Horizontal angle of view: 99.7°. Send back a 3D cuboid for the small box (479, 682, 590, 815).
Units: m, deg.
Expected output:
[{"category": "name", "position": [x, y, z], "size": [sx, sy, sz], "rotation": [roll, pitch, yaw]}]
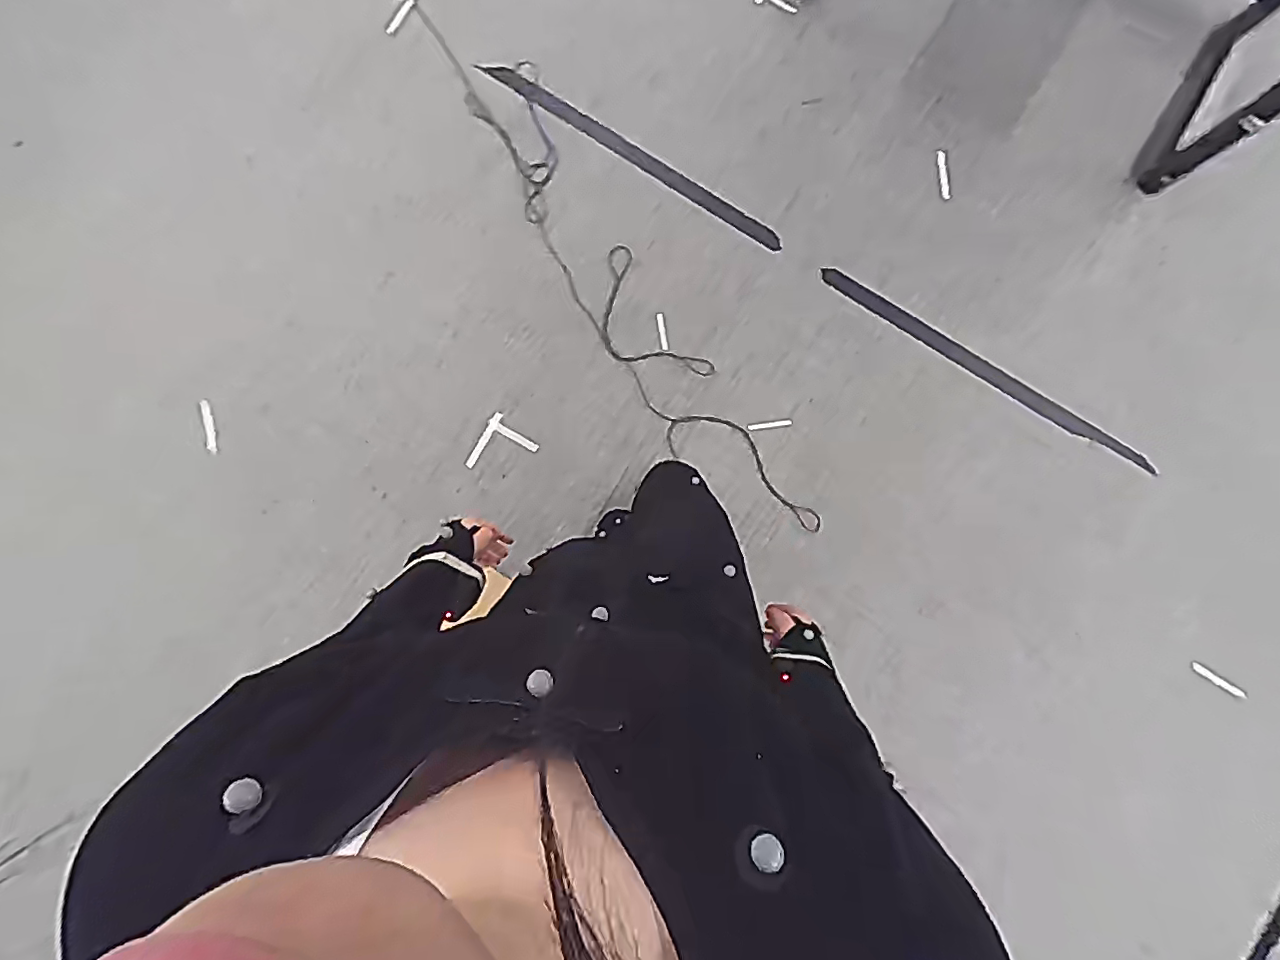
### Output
[{"category": "small box", "position": [-0.225, 0.588, 1.213], "size": [0.168, 0.176, 0.179], "rotation": [33, 89, 3]}]
